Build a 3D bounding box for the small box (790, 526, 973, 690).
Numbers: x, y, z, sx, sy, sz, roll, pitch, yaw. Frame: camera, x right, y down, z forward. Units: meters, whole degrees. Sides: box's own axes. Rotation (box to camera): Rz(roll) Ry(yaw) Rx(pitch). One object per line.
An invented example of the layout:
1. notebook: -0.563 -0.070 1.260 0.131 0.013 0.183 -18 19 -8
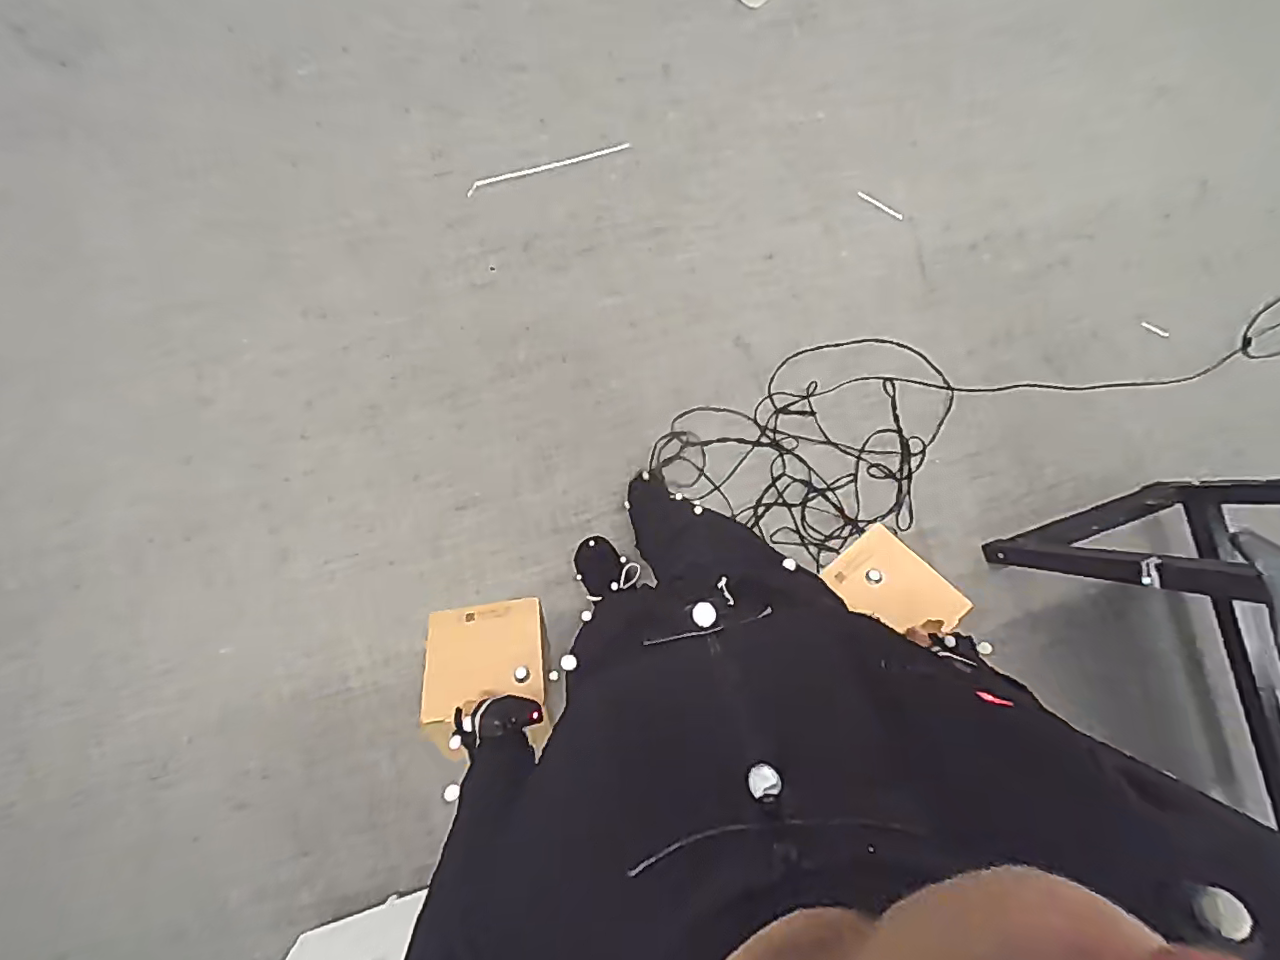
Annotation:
1. small box: 0.349 0.195 0.824 0.168 0.179 0.176 -40 66 -7
